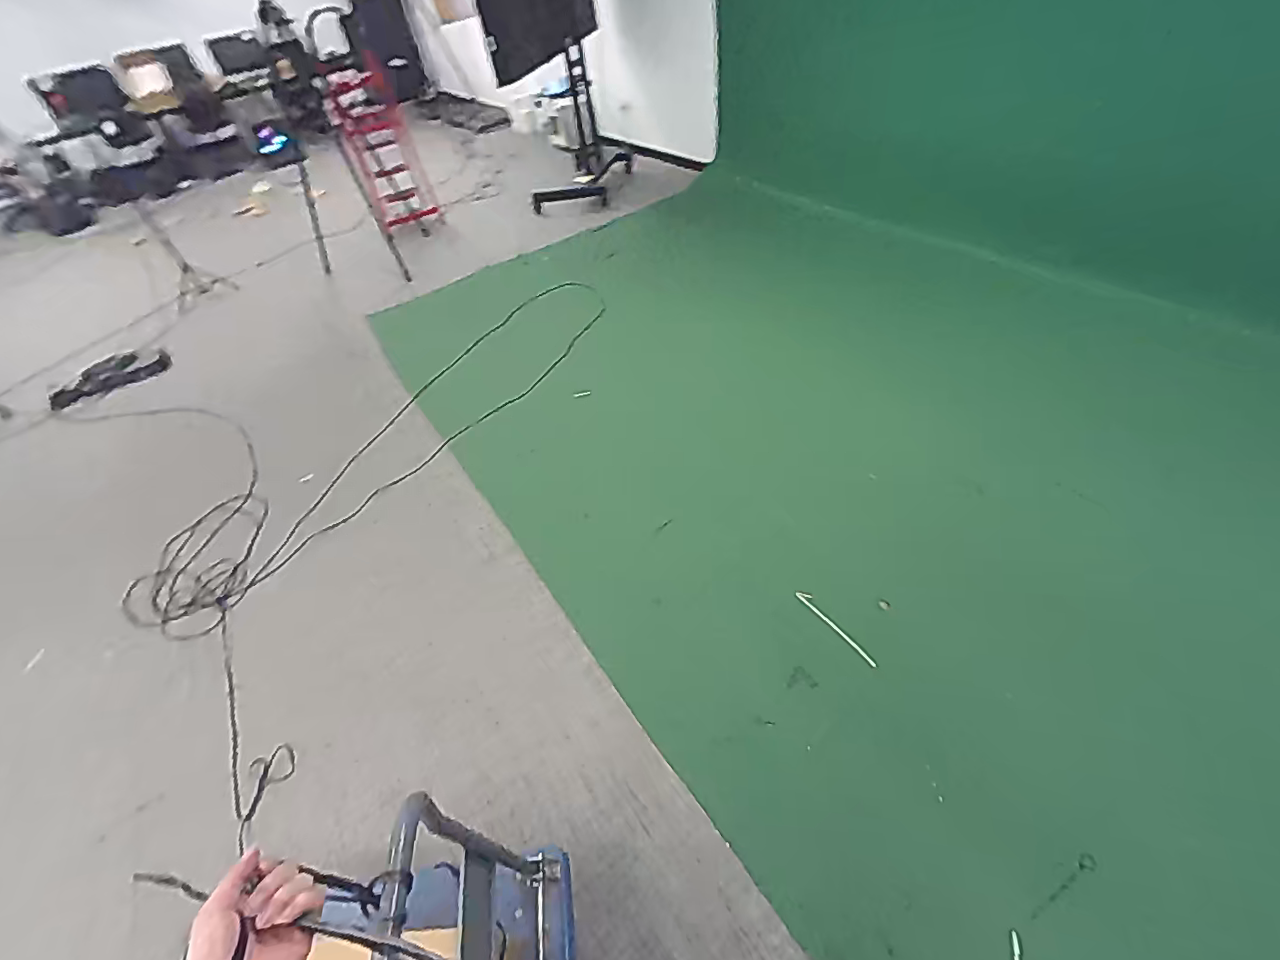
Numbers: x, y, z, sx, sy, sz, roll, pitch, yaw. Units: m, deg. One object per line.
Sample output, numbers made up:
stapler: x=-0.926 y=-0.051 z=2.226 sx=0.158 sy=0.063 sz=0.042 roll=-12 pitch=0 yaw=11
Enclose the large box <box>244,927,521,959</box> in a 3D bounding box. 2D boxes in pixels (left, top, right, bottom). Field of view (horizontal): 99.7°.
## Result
large box: x=-0.446 y=0.988 z=0.923 sx=0.408 sy=0.320 sz=0.320 roll=-8 pitch=47 yaw=4
